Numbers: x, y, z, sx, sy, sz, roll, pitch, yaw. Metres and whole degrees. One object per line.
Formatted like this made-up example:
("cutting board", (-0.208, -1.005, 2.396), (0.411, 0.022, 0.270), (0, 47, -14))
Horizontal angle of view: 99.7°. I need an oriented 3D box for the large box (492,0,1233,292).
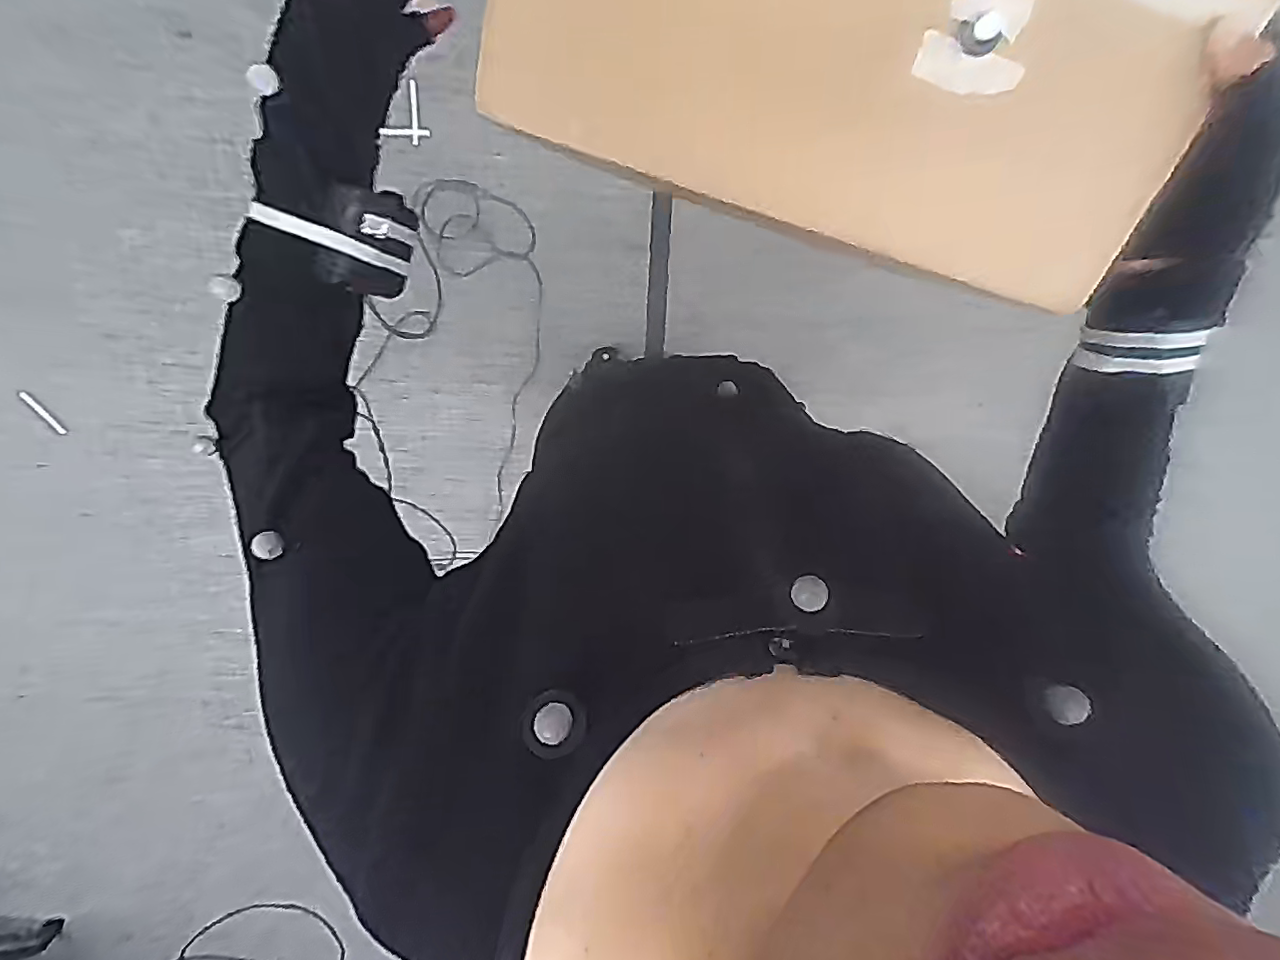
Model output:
("large box", (0.142, -0.371, 0.427), (0.408, 0.320, 0.320), (17, 116, -2))
